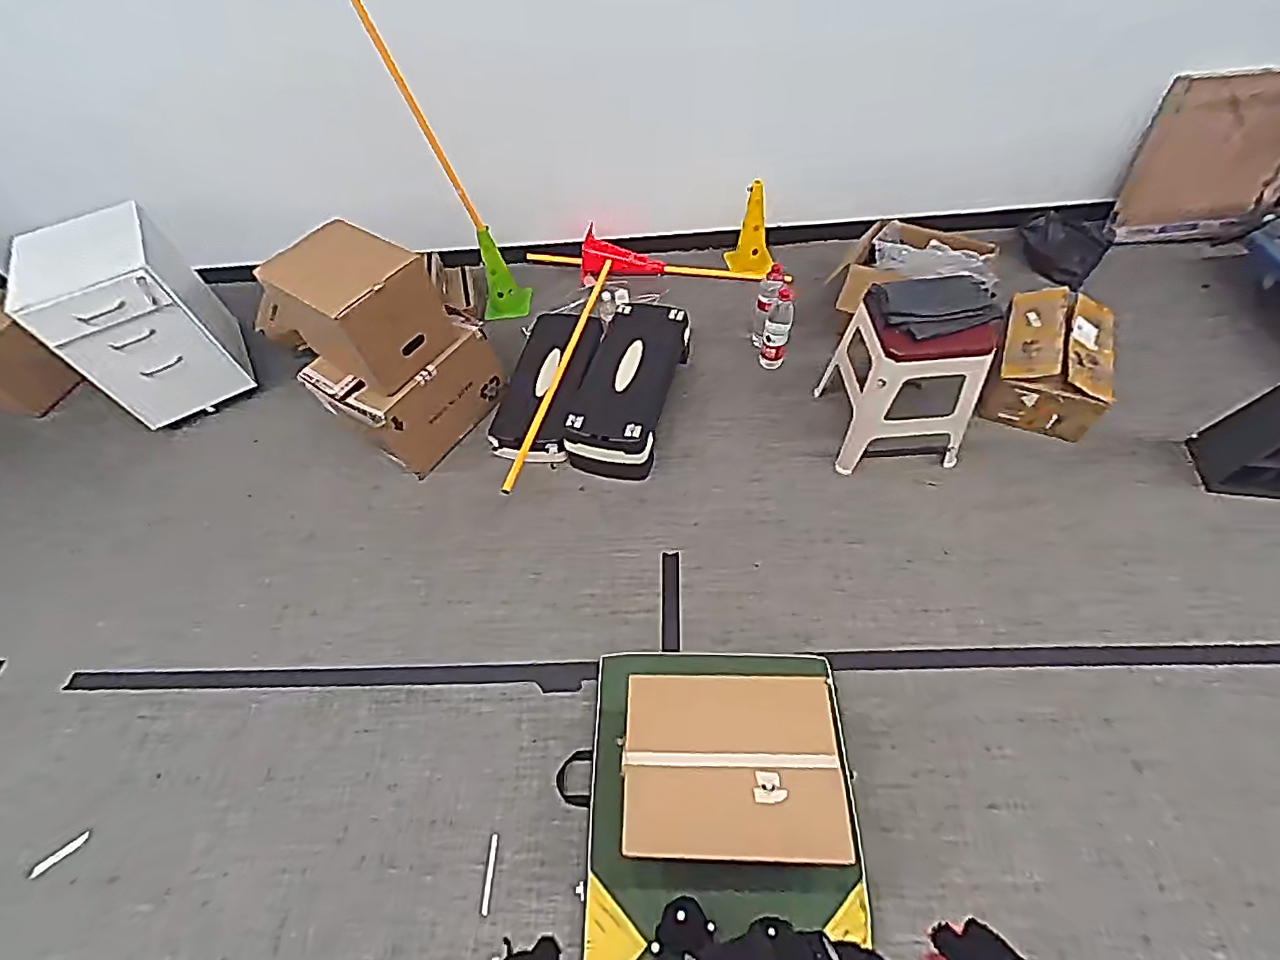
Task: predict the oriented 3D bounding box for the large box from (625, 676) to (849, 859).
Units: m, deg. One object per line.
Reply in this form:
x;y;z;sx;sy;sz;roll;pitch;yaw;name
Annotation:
0.180;0.623;1.160;0.408;0.320;0.320;-1;56;4;large box
